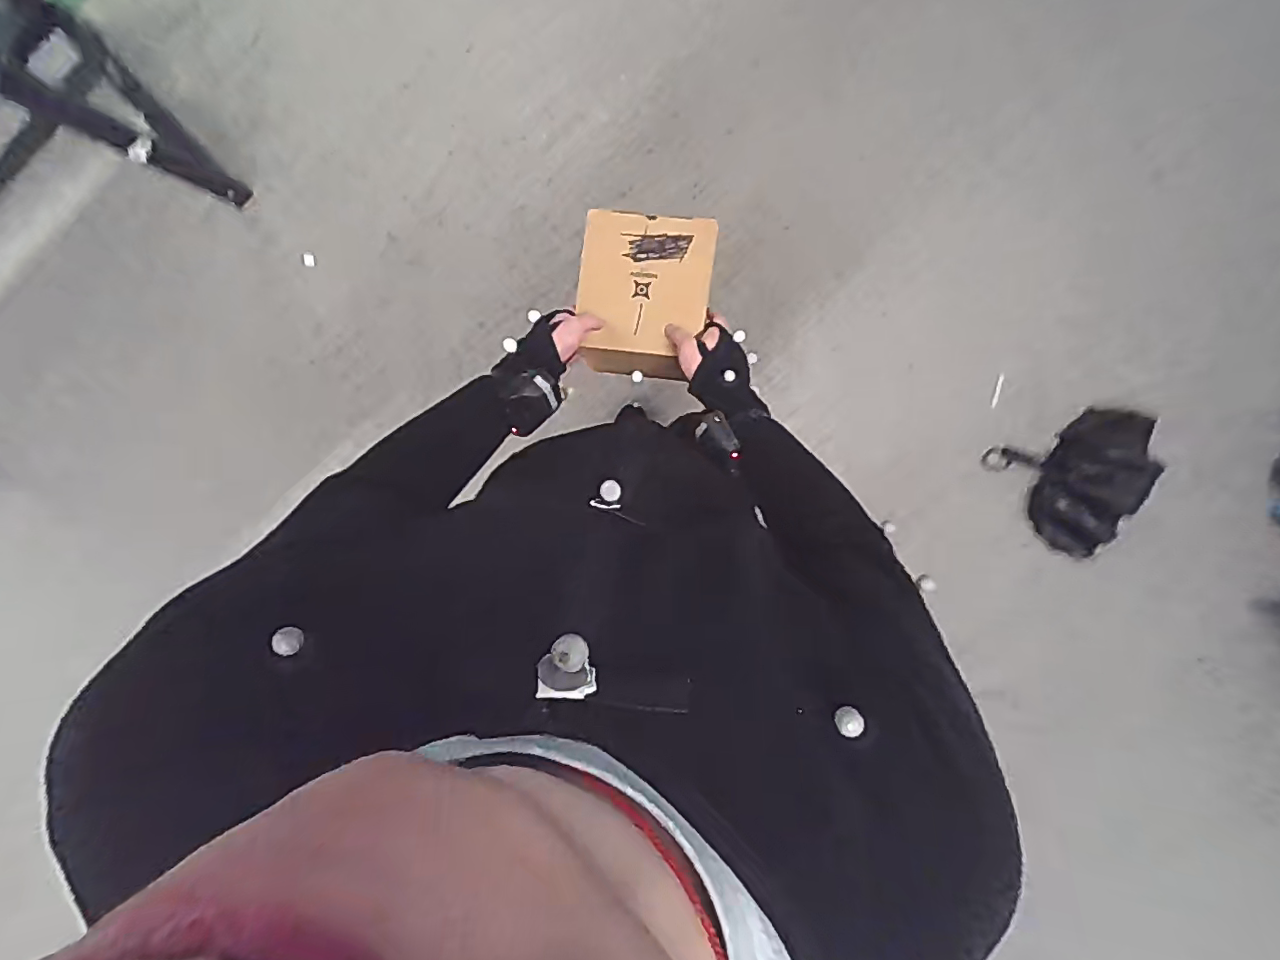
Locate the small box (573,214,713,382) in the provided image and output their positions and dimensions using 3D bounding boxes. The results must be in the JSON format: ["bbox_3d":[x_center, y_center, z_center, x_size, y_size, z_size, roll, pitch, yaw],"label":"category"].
[{"bbox_3d":[0.008,-0.246,0.764,0.168,0.176,0.179,5,91,5],"label":"small box"}]
